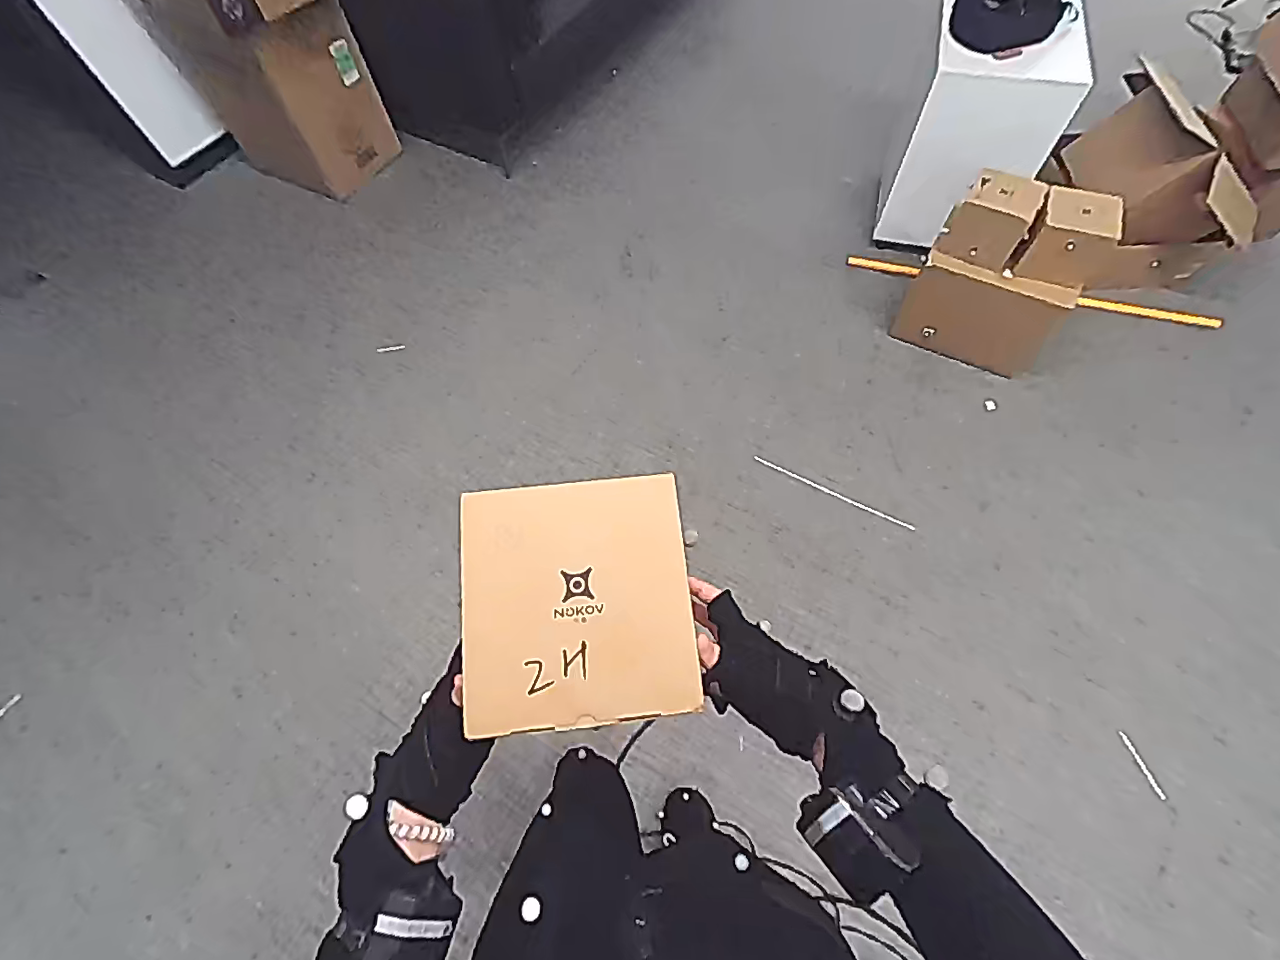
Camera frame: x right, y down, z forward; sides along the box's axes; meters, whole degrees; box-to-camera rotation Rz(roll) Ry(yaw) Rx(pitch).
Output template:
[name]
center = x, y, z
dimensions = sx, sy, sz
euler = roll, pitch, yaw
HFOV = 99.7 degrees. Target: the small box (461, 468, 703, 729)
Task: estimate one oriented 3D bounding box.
[small box]
center = -0.047, 0.102, 0.464
dimensions = 0.168, 0.176, 0.179
euler = -5, 73, -2
